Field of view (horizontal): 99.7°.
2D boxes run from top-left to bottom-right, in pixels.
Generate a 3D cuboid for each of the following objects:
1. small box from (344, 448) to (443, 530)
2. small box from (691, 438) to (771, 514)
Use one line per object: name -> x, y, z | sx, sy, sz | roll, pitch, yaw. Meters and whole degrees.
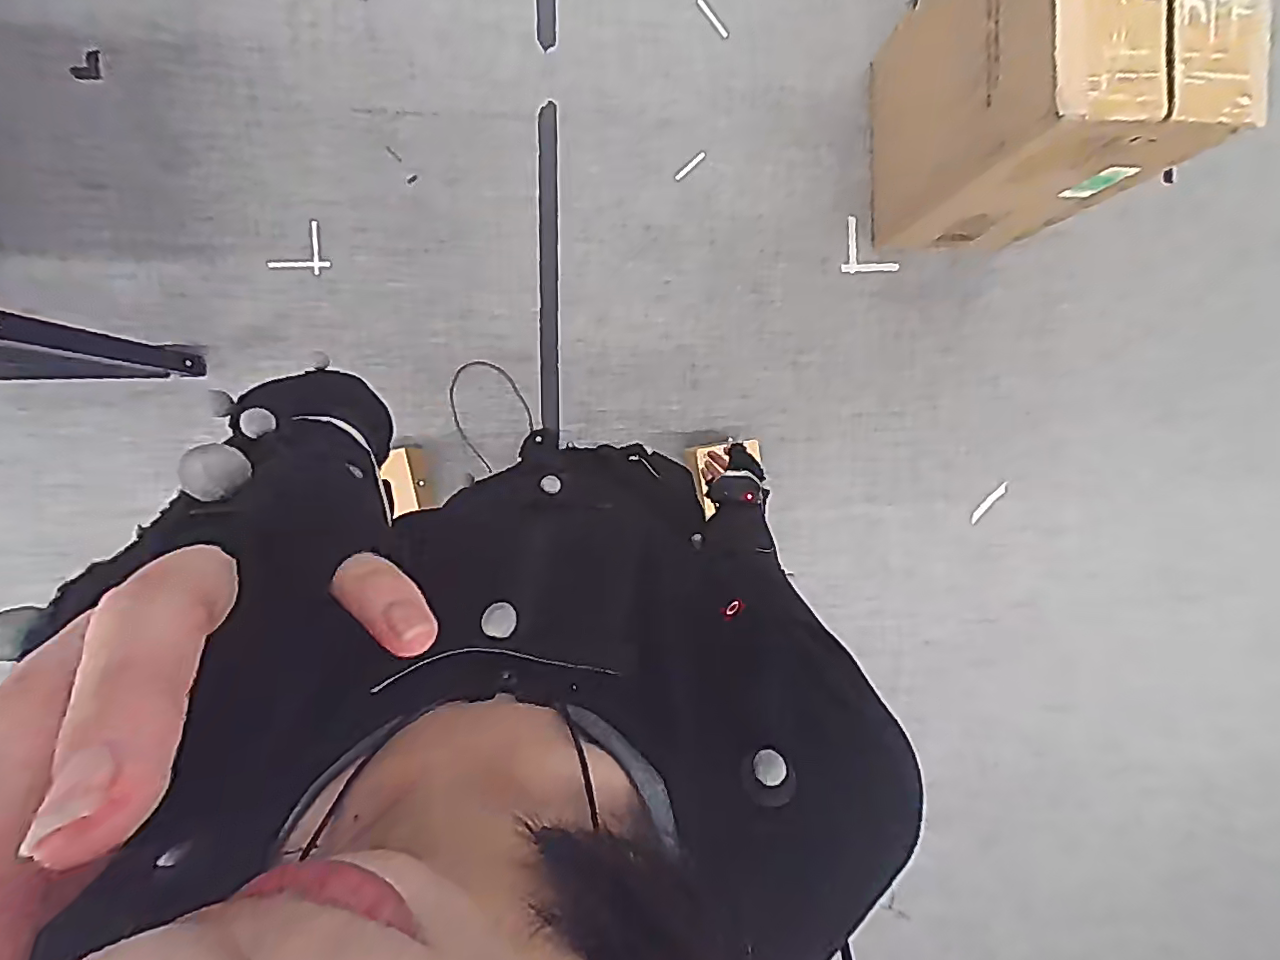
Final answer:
small box -> -0.625, 0.019, 1.392 | 0.168, 0.176, 0.179 | -12, 92, -5
small box -> 0.240, -0.016, 1.463 | 0.168, 0.176, 0.179 | -10, 95, -4
